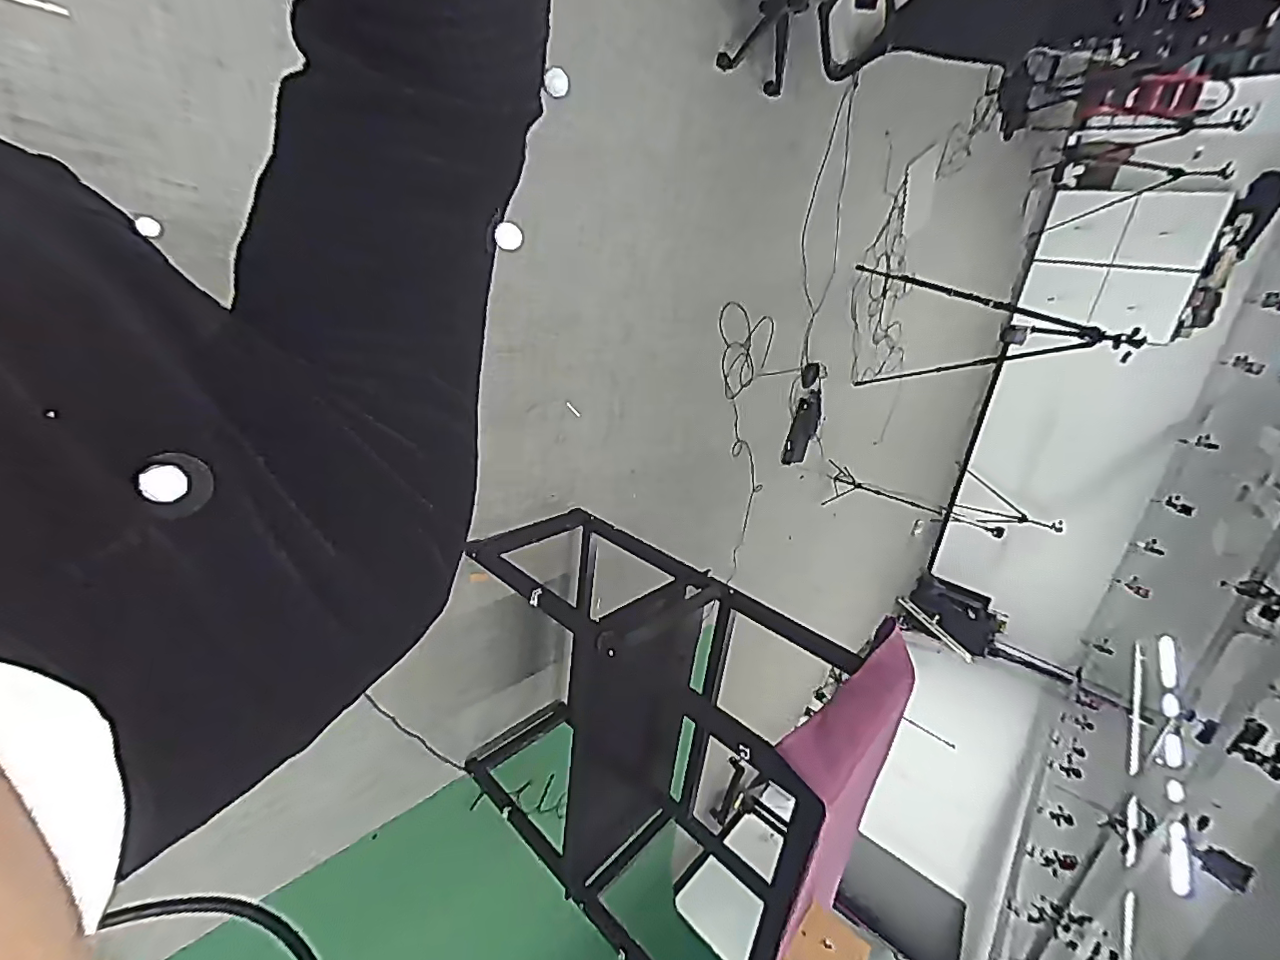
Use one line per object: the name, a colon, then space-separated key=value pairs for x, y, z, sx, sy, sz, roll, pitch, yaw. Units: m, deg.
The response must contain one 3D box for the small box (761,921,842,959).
small box: x=0.409 y=1.332 z=1.435 sx=0.168 sy=0.176 sz=0.179 roll=-13 pitch=118 yaw=-49
